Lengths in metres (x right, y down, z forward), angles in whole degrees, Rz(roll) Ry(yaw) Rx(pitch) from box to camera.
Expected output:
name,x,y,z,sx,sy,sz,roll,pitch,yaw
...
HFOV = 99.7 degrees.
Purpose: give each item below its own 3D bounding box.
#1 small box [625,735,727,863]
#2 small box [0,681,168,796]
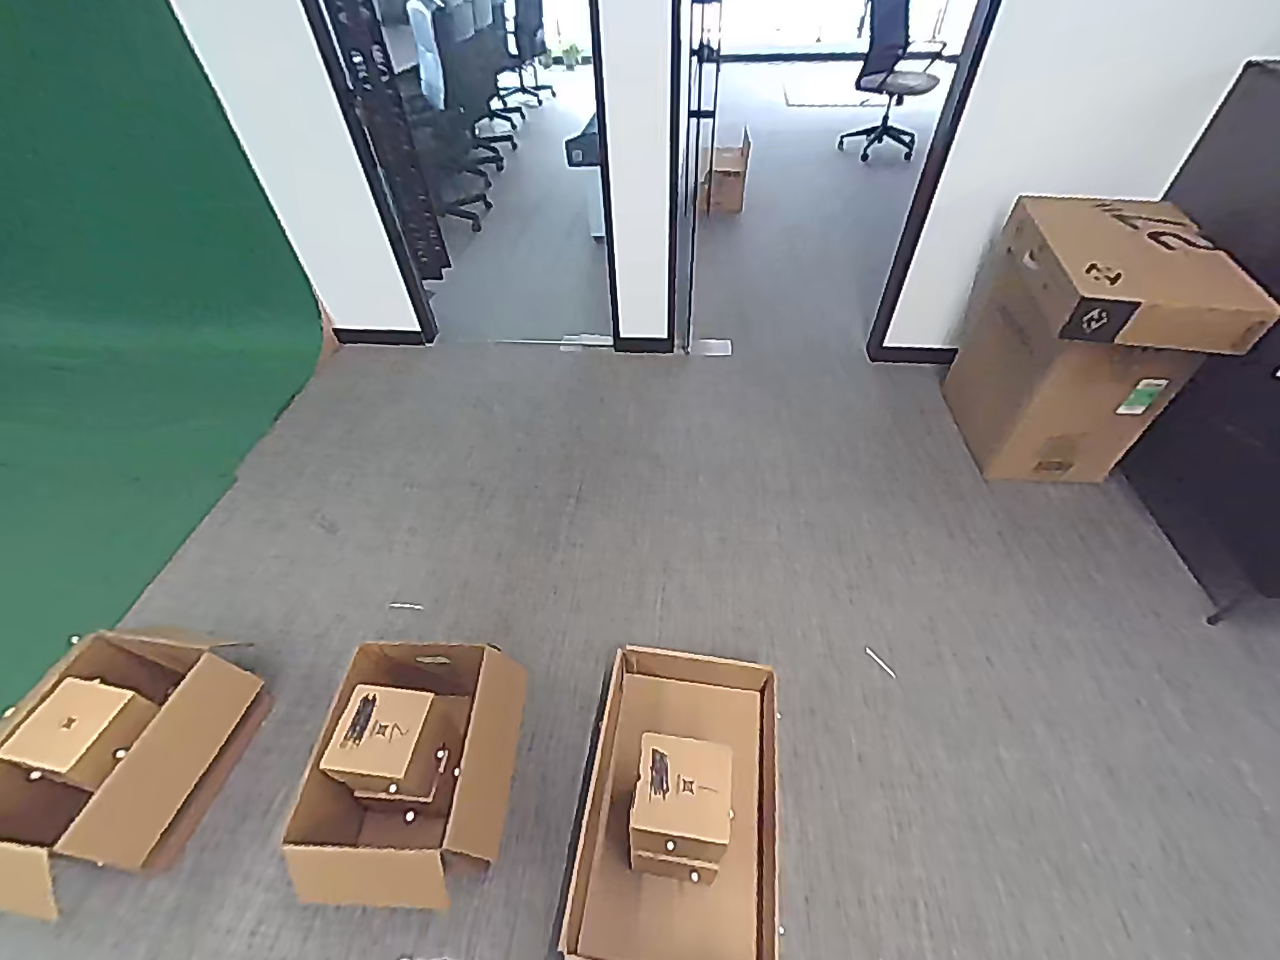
name,x,y,z,sx,sy,sz,roll,pitch,yaw
small box,0.070,0.620,1.048,0.179,0.176,0.168,6,45,5
small box,-1.193,0.561,1.165,0.179,0.176,0.168,8,46,7
